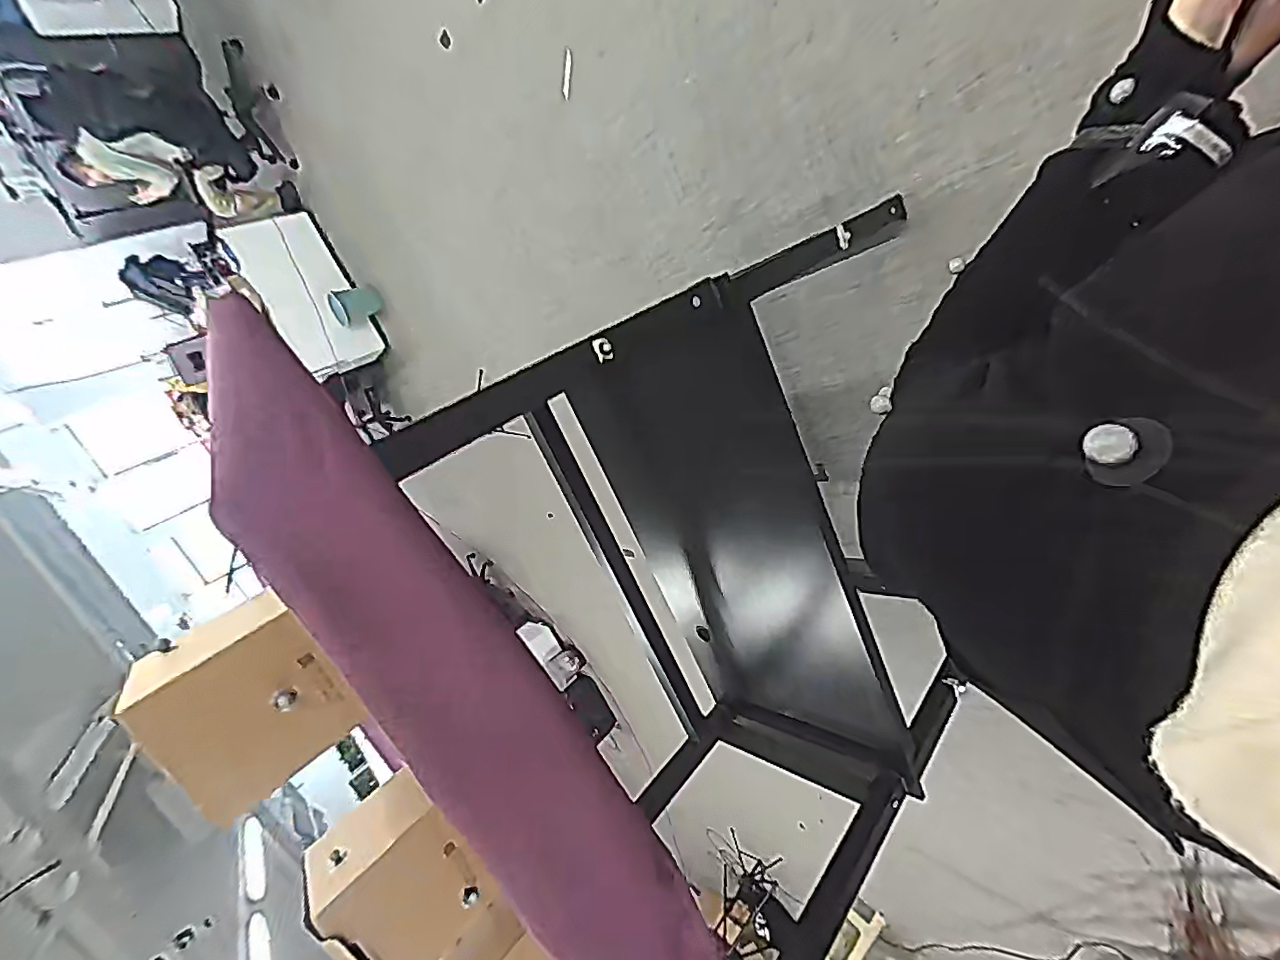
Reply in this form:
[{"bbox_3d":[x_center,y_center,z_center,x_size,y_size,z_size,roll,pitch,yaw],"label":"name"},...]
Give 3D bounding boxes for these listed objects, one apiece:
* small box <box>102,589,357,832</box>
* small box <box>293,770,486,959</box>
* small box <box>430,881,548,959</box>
[{"bbox_3d":[-0.465,0.250,0.636,0.179,0.176,0.168,1,121,51],"label":"small box"},{"bbox_3d":[-0.337,0.538,0.739,0.179,0.176,0.168,-11,110,55],"label":"small box"},{"bbox_3d":[-0.236,0.776,0.827,0.168,0.176,0.179,-9,112,54],"label":"small box"}]
